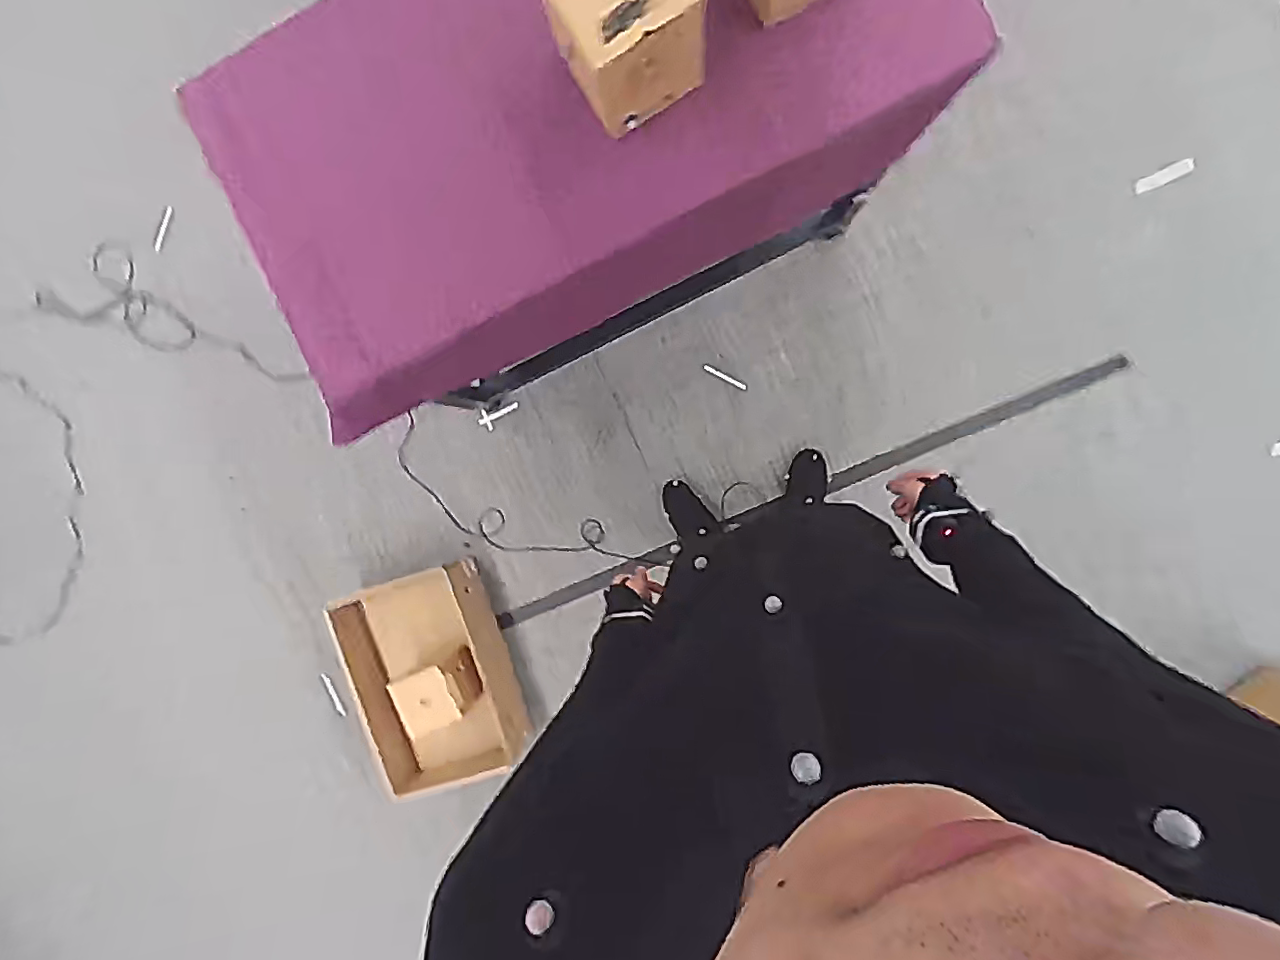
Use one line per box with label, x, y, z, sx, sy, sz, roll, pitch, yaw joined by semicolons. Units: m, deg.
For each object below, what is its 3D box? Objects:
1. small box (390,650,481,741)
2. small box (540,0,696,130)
small box;-0.594;0.631;1.604;0.179;0.176;0.168;-24;89;7
small box;-0.029;-0.654;0.785;0.168;0.176;0.179;-31;89;7
